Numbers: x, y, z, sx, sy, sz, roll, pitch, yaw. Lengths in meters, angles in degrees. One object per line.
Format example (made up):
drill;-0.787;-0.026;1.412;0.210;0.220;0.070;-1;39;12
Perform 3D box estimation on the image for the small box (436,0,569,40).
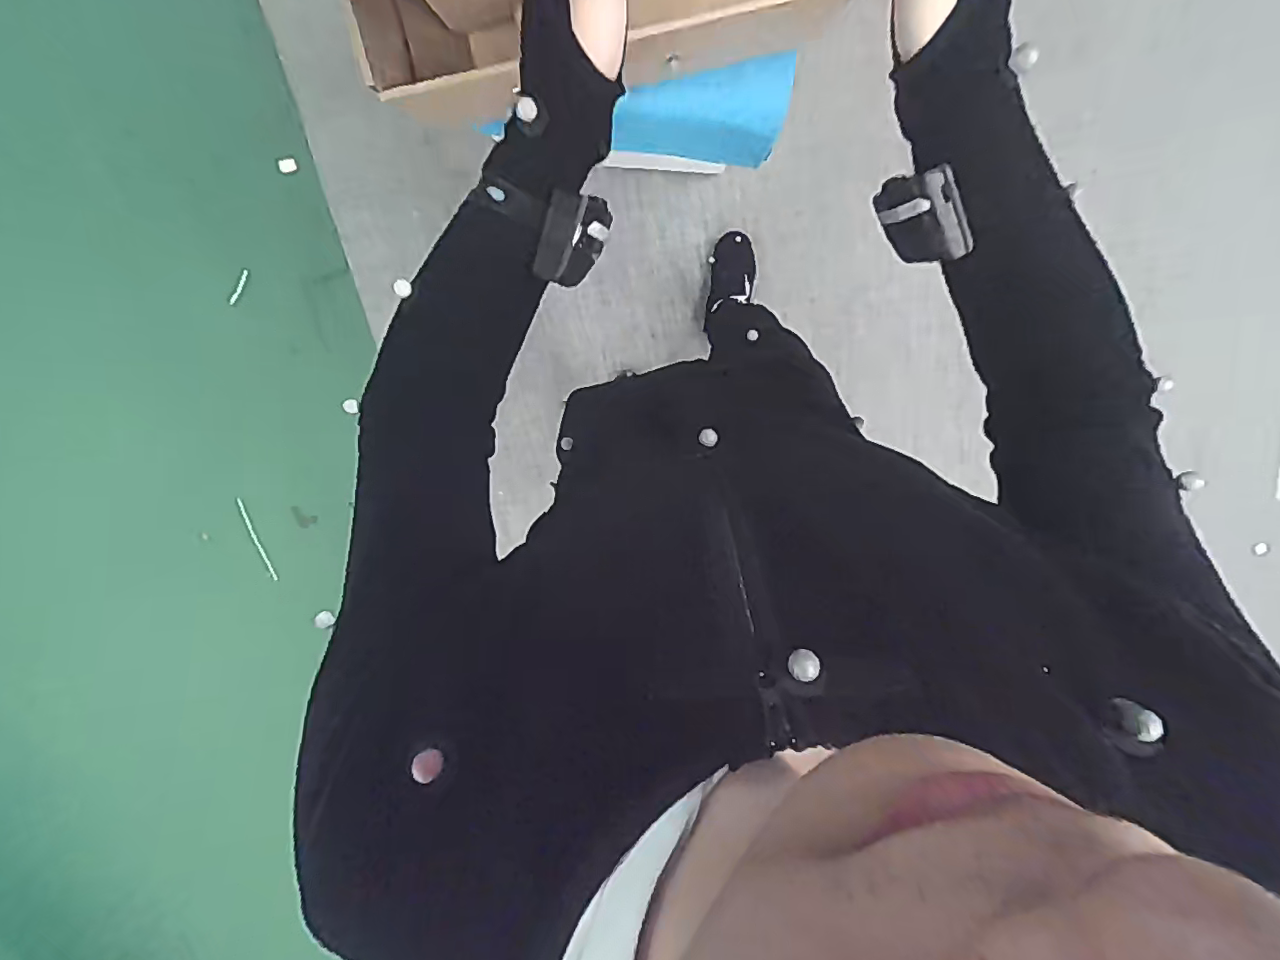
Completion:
small box;-0.193;-0.687;0.653;0.168;0.176;0.179;-8;107;7
